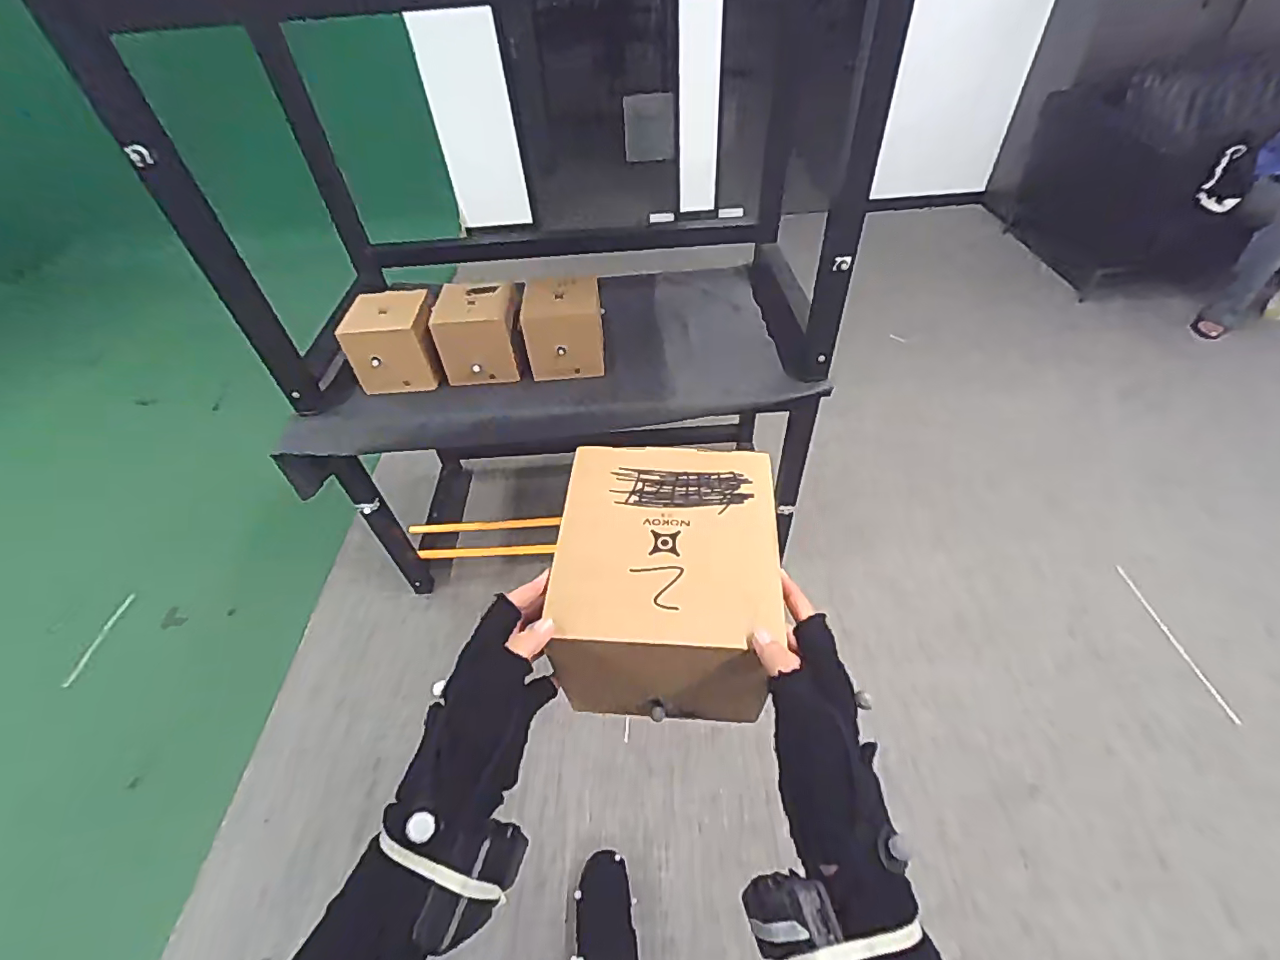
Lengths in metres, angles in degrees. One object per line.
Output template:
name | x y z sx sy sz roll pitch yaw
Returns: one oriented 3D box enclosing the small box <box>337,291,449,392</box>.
small box | -0.562 -0.317 1.259 0.168 0.176 0.179 -4 46 0
